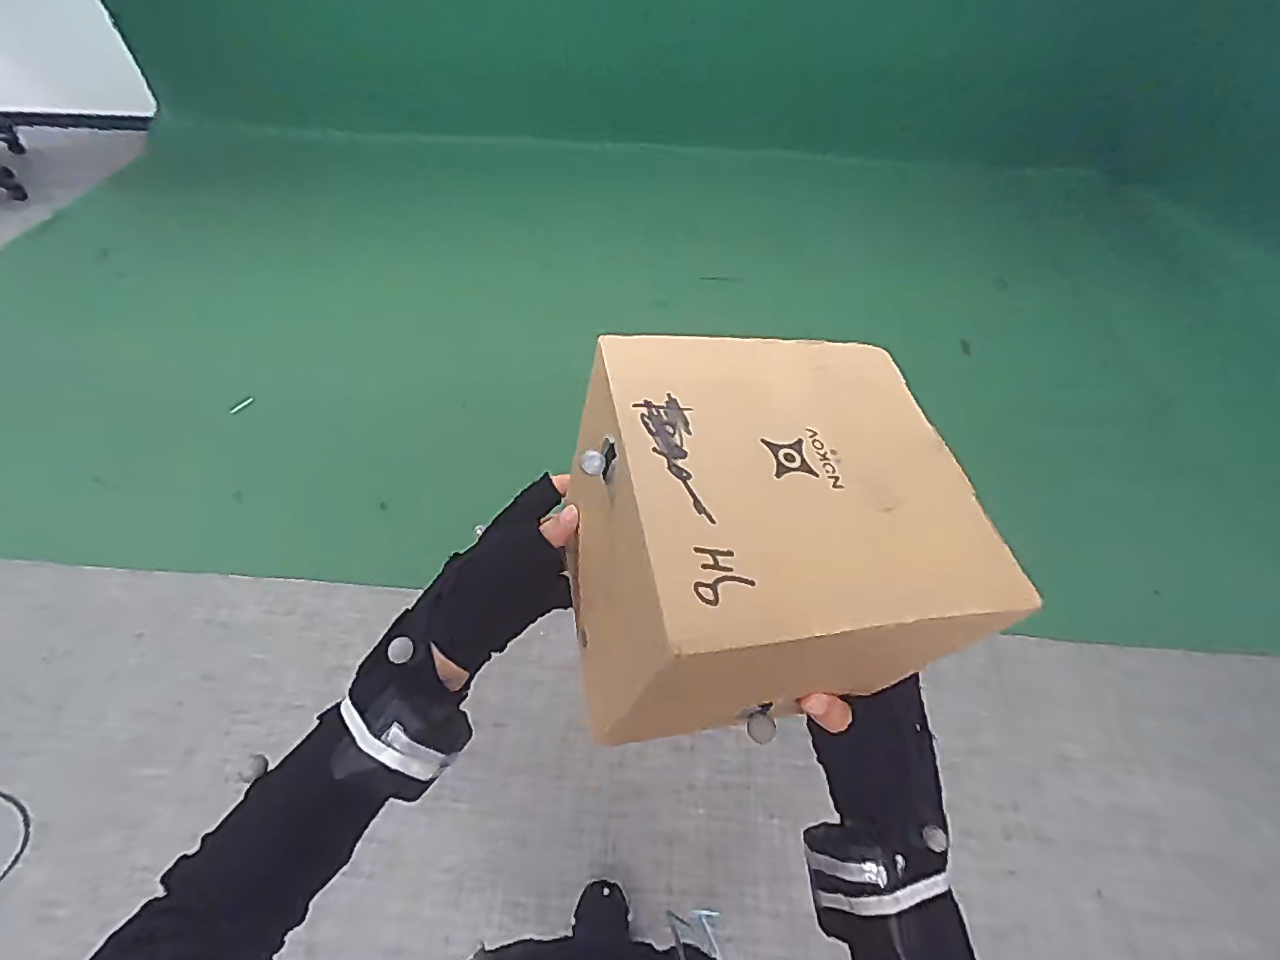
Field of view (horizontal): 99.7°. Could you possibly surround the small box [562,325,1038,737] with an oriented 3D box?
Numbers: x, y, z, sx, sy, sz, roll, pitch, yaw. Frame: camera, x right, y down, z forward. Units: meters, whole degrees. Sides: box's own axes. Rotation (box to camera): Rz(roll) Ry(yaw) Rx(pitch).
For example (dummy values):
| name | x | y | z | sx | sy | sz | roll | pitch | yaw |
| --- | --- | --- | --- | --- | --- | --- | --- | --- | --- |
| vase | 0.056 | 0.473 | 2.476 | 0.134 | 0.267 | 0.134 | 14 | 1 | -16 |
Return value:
| name | x | y | z | sx | sy | sz | roll | pitch | yaw |
| --- | --- | --- | --- | --- | --- | --- | --- | --- | --- |
| small box | 0.060 | 0.036 | 0.315 | 0.179 | 0.176 | 0.168 | -1 | 55 | -18 |
